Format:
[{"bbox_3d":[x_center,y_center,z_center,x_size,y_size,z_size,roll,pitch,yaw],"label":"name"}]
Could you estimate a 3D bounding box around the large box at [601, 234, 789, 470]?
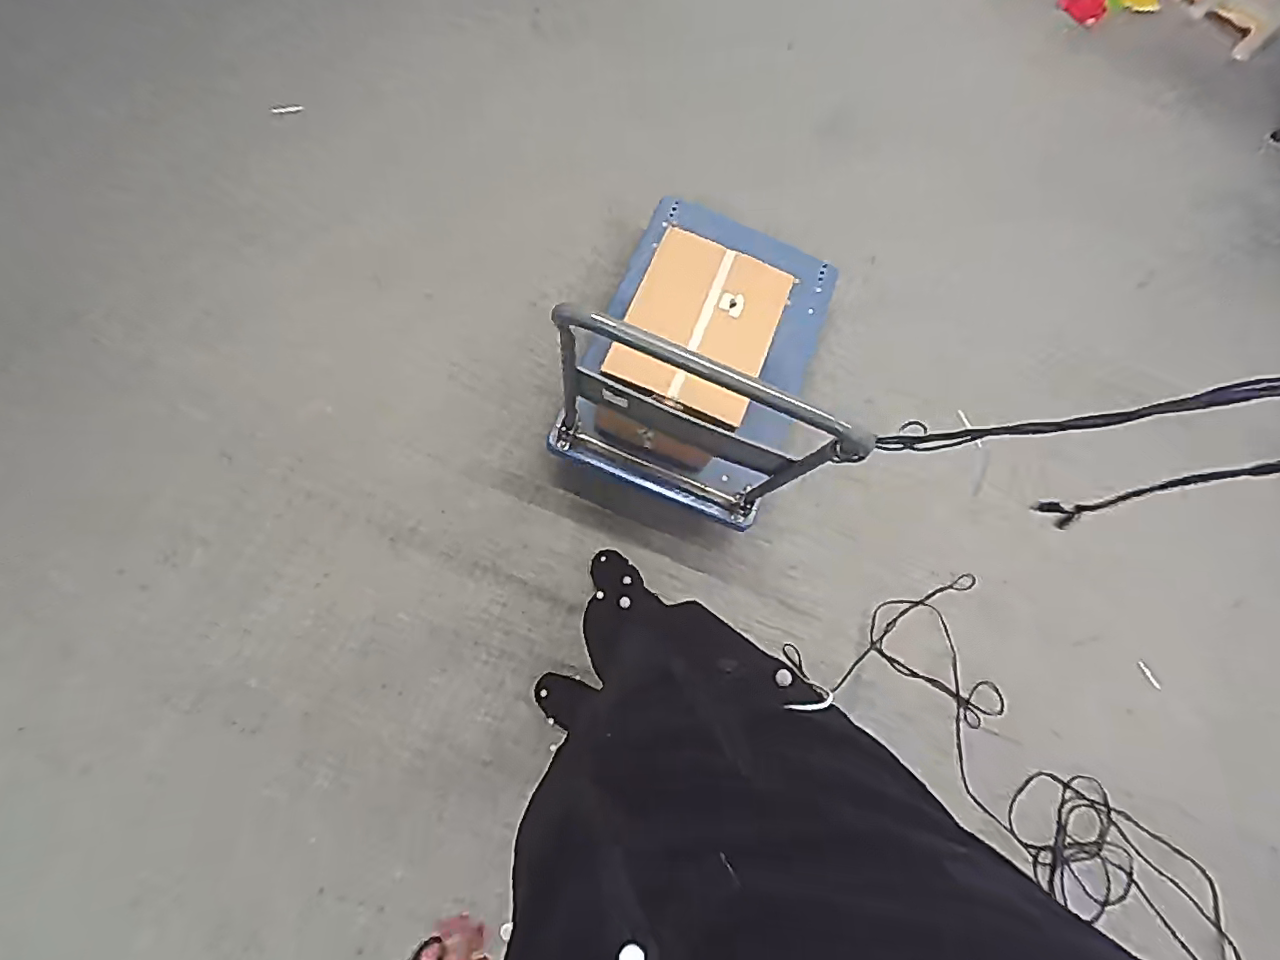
[{"bbox_3d":[0.118,-0.292,1.317,0.320,0.320,0.408,22,72,-1],"label":"large box"}]
